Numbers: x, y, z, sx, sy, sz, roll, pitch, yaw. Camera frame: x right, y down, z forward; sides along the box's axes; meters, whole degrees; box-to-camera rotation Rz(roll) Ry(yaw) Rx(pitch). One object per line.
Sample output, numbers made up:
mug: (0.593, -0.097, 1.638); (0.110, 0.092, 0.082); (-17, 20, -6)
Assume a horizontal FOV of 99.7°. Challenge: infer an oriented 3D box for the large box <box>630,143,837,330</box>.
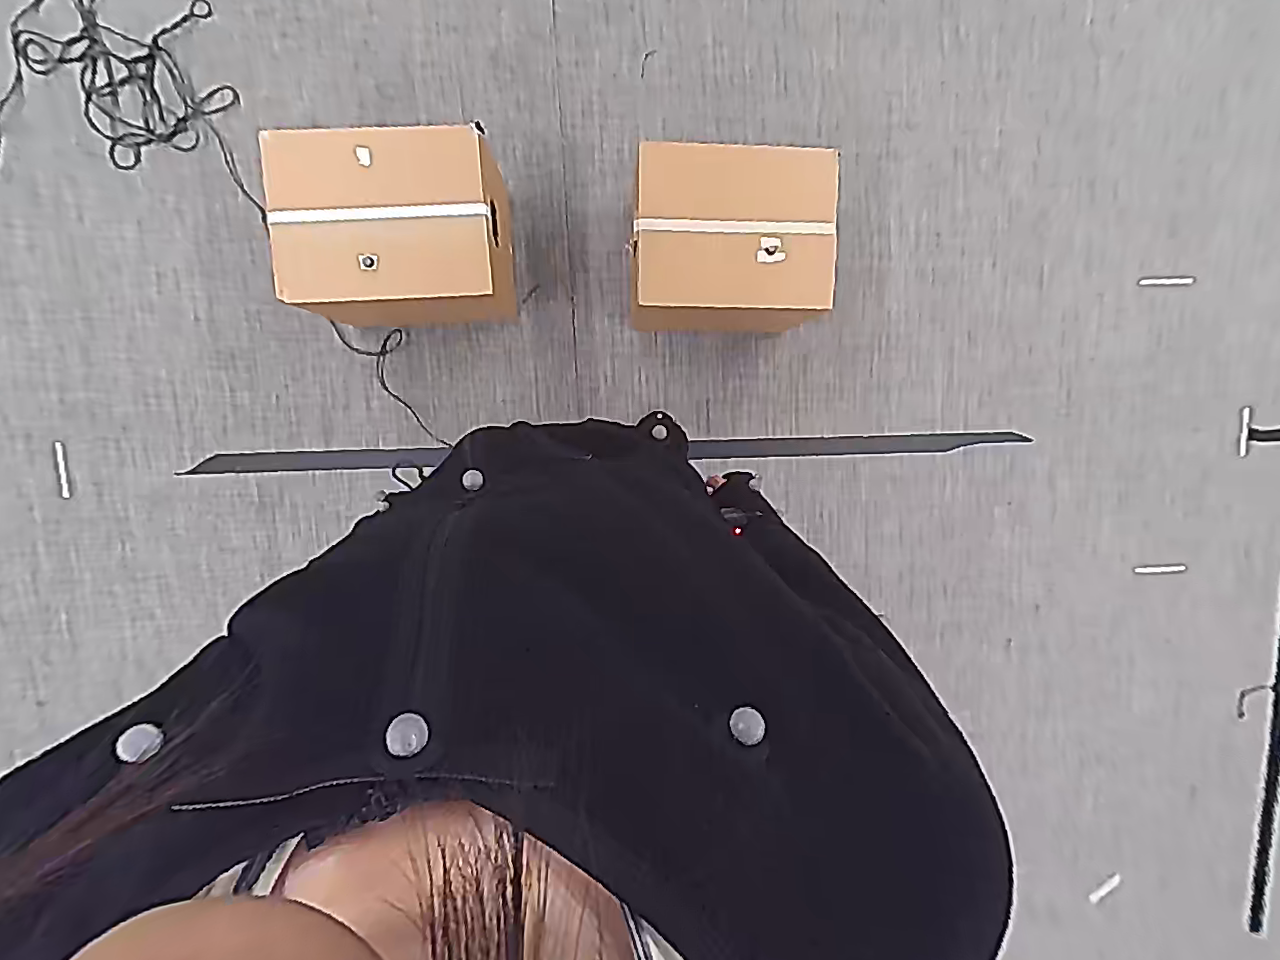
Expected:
large box: (0.186, -0.525, 1.236); (0.408, 0.320, 0.320); (0, 97, -5)
